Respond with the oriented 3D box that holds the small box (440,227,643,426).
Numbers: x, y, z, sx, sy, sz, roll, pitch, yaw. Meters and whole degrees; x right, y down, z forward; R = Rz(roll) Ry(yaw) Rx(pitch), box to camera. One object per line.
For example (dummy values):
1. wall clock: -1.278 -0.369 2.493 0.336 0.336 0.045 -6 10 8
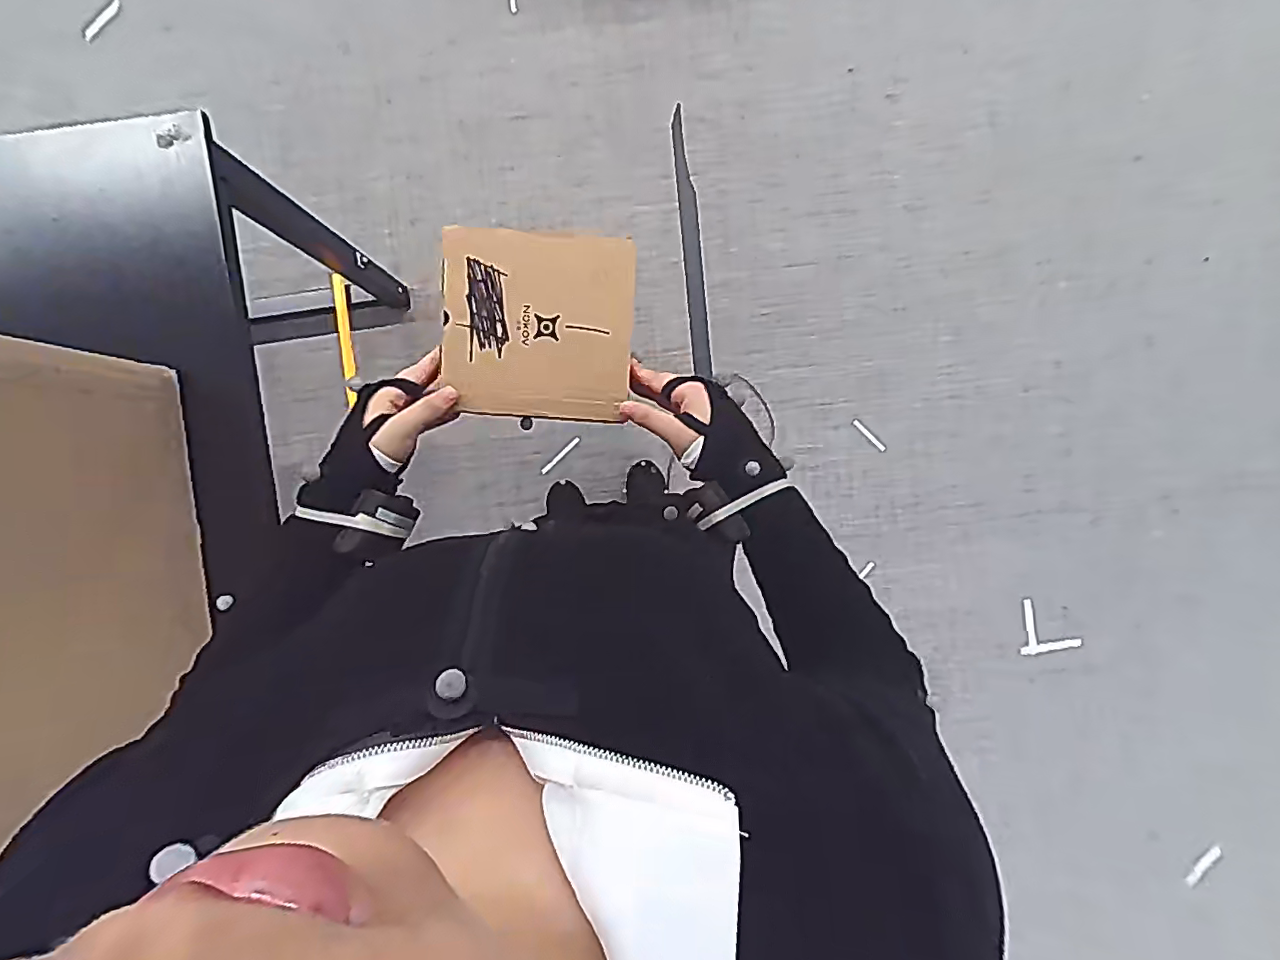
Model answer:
1. small box: -0.094 -0.145 0.569 0.179 0.176 0.168 4 95 -4
